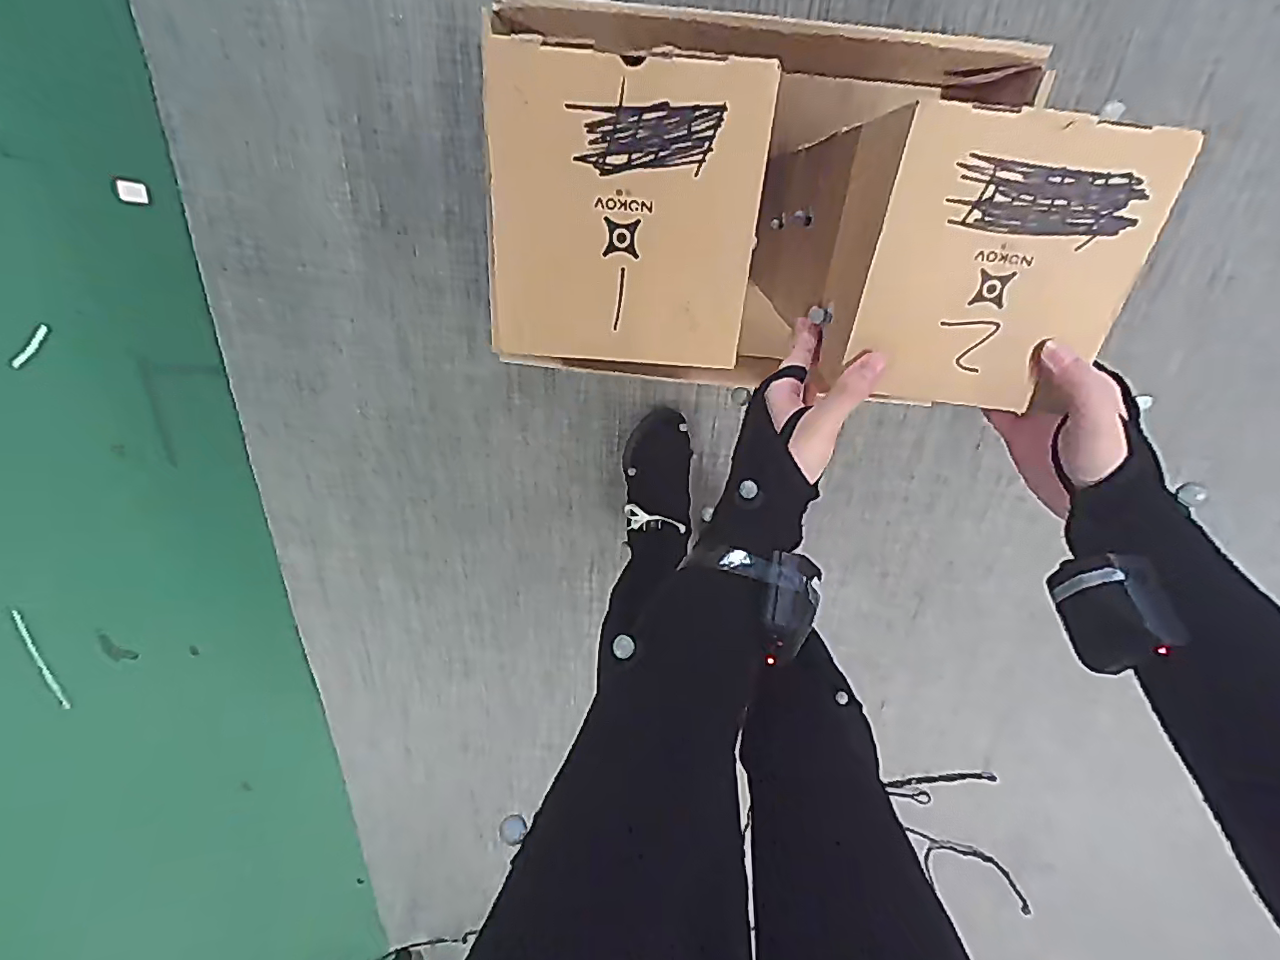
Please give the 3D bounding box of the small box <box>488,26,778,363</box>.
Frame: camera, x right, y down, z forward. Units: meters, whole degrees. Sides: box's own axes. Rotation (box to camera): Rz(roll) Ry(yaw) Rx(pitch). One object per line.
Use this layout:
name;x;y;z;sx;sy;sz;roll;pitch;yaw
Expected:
small box;-0.010;-0.200;0.406;0.168;0.176;0.179;4;117;-1

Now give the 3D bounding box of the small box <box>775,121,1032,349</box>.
small box;0.245;-0.247;0.558;0.168;0.176;0.179;7;116;2
